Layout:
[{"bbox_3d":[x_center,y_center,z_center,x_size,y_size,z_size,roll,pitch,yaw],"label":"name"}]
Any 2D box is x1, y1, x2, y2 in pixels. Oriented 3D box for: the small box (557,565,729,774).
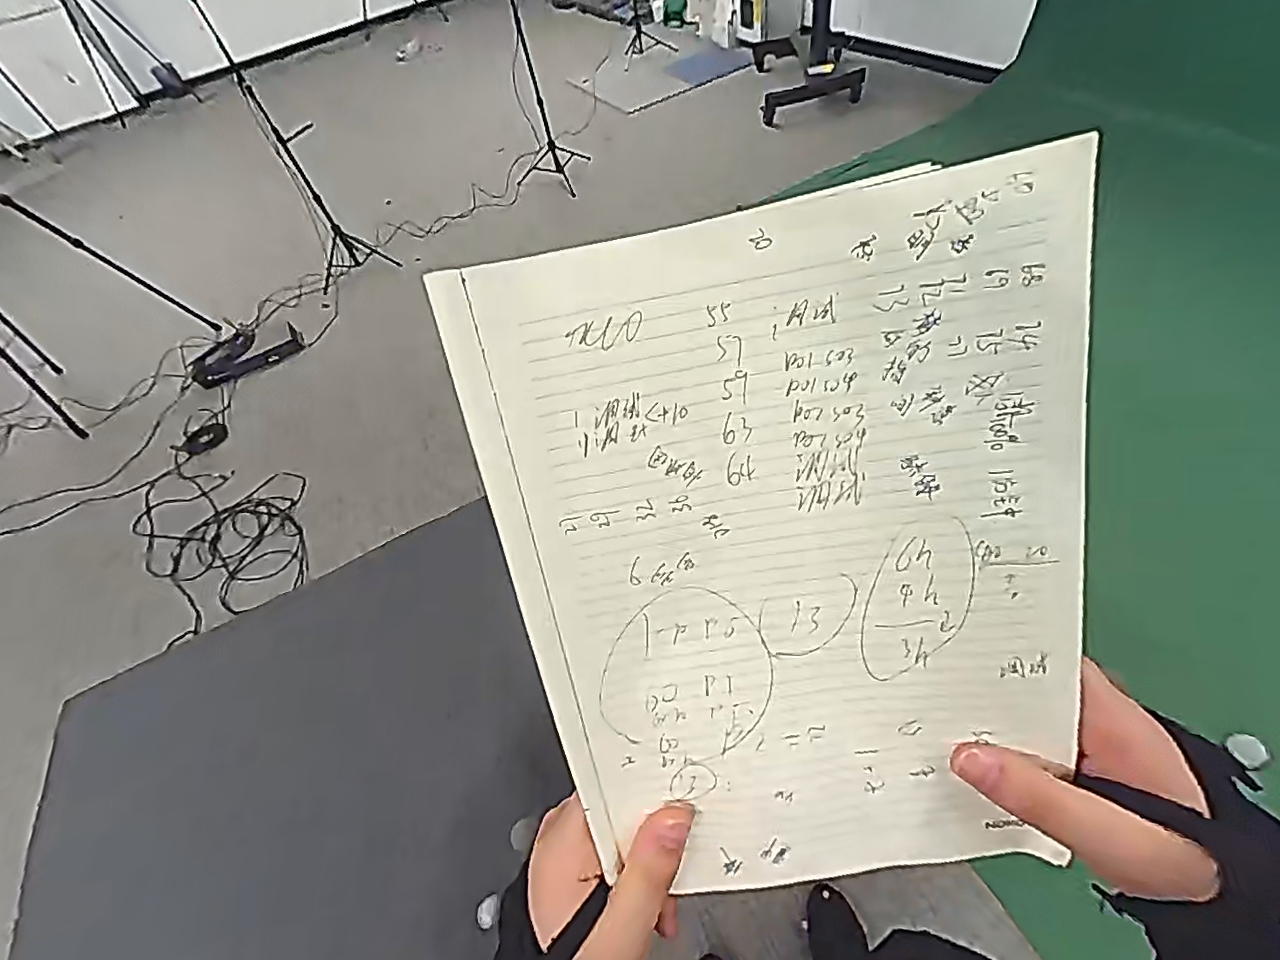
[{"bbox_3d":[0.006,0.237,0.671,0.168,0.176,0.179,-17,51,0],"label":"small box"}]
